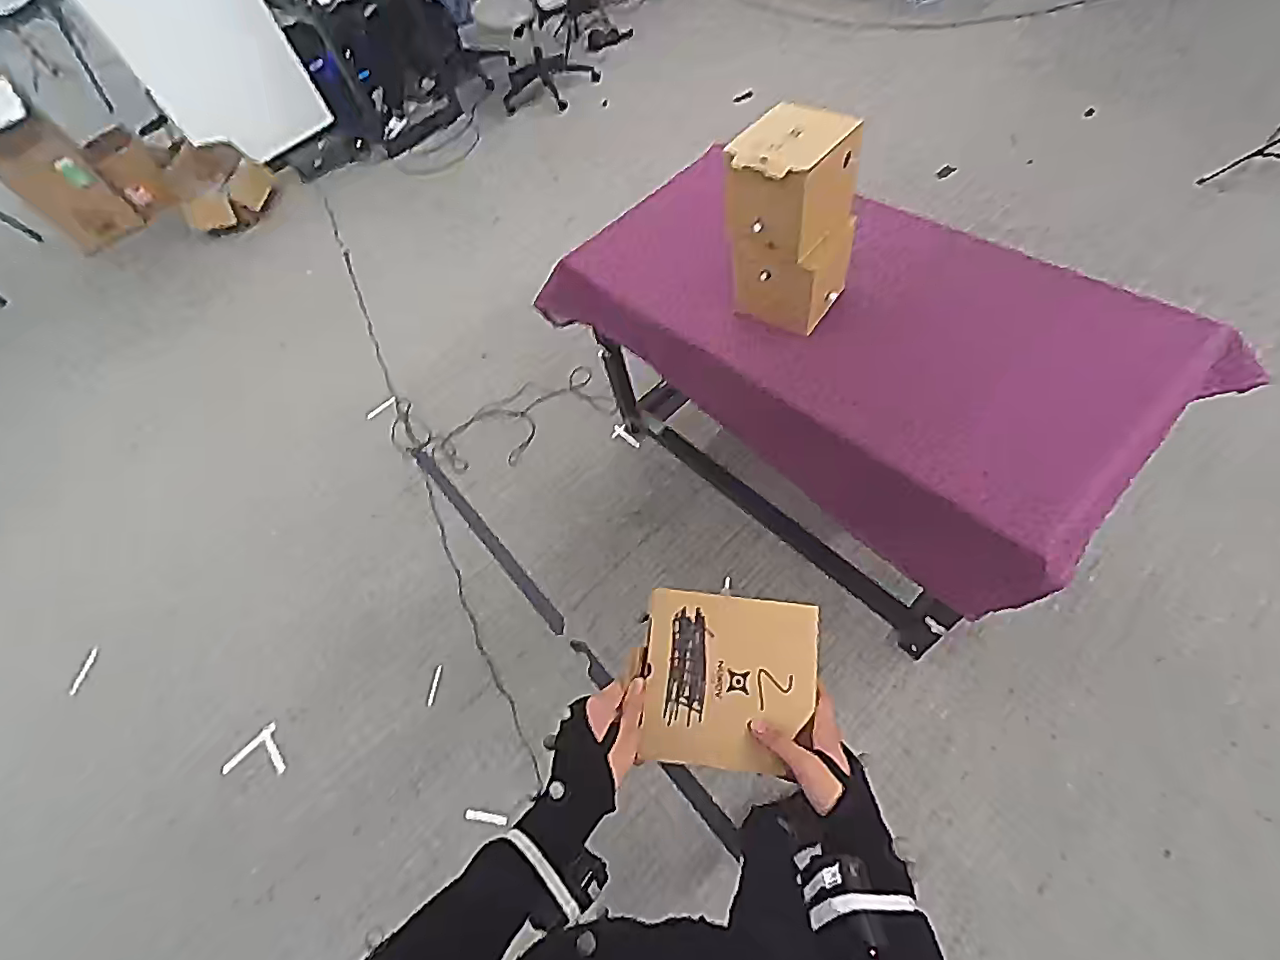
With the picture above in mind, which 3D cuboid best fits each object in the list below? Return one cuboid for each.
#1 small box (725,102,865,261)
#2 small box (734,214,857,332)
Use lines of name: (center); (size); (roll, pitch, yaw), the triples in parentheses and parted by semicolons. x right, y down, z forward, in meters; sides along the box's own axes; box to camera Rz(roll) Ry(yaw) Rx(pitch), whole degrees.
small box: (0.270, -0.531, 0.968); (0.168, 0.176, 0.179); (35, 71, 28)
small box: (0.308, -0.430, 1.094); (0.179, 0.176, 0.168); (30, 69, 25)
